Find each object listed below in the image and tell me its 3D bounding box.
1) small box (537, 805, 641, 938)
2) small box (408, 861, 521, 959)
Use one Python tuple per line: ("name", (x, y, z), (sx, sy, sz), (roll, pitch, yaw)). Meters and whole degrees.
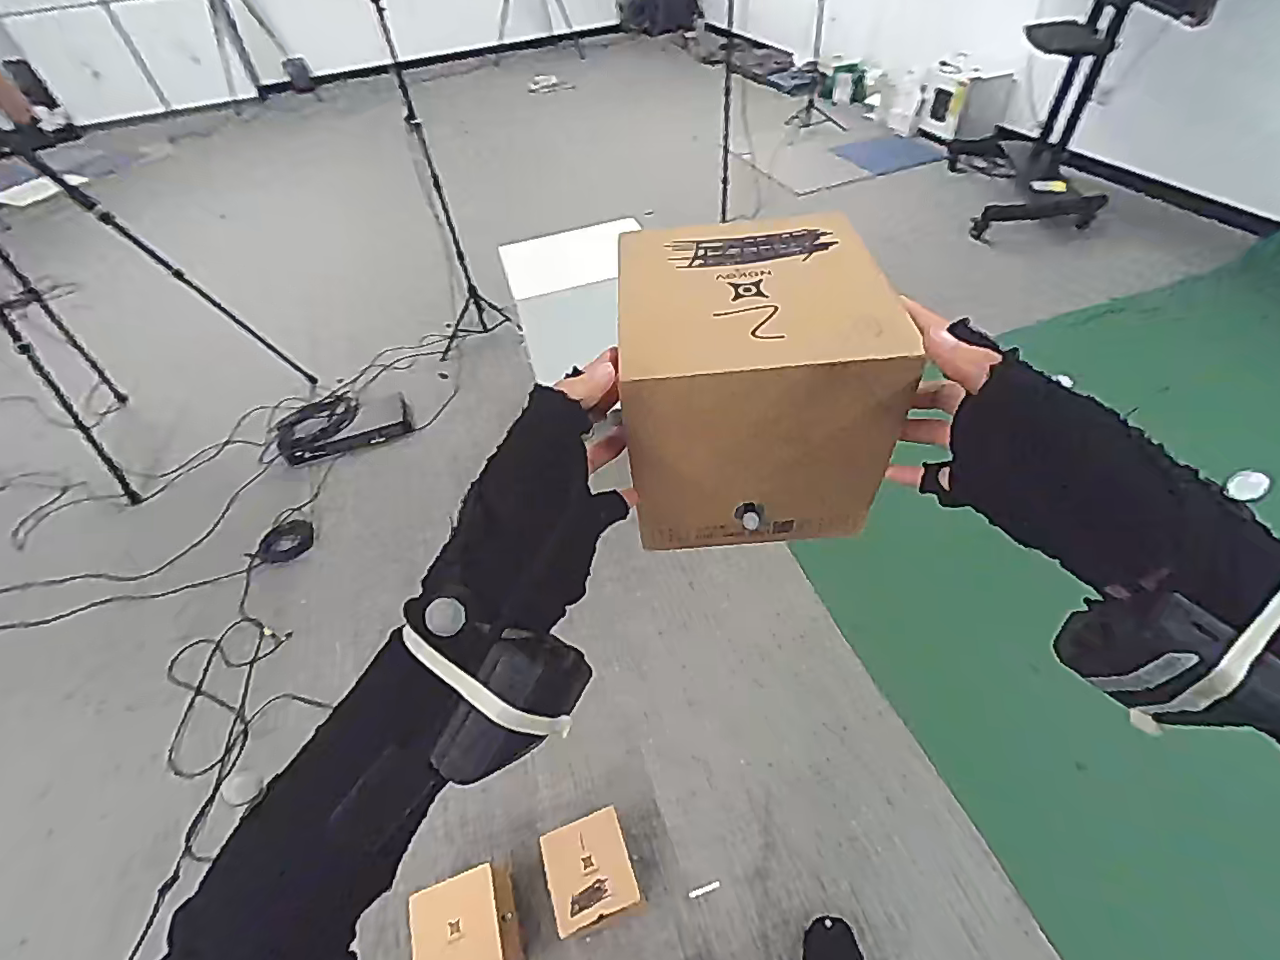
("small box", (-0.104, 0.826, 1.140), (0.168, 0.176, 0.179), (-18, 48, -10))
("small box", (-0.351, 0.913, 1.092), (0.168, 0.176, 0.179), (-18, 49, -10))
